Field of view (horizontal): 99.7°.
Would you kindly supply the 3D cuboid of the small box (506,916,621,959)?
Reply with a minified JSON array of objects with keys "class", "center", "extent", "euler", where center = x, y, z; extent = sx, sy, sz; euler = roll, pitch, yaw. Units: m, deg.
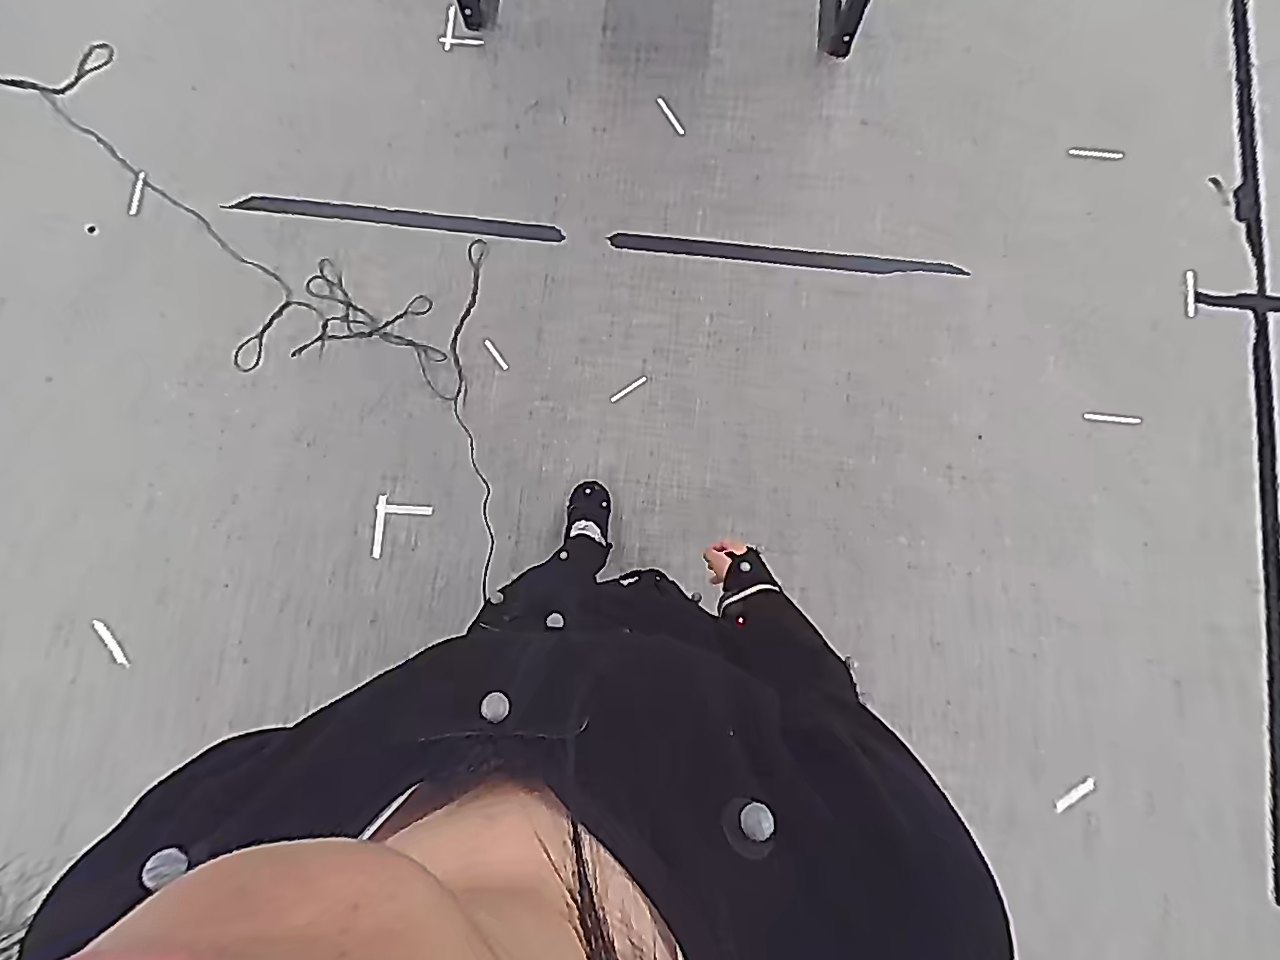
[{"class":"small box","center":[-0.122,0.755,0.744],"extent":[0.168,0.176,0.179],"euler":[10,84,2]}]
